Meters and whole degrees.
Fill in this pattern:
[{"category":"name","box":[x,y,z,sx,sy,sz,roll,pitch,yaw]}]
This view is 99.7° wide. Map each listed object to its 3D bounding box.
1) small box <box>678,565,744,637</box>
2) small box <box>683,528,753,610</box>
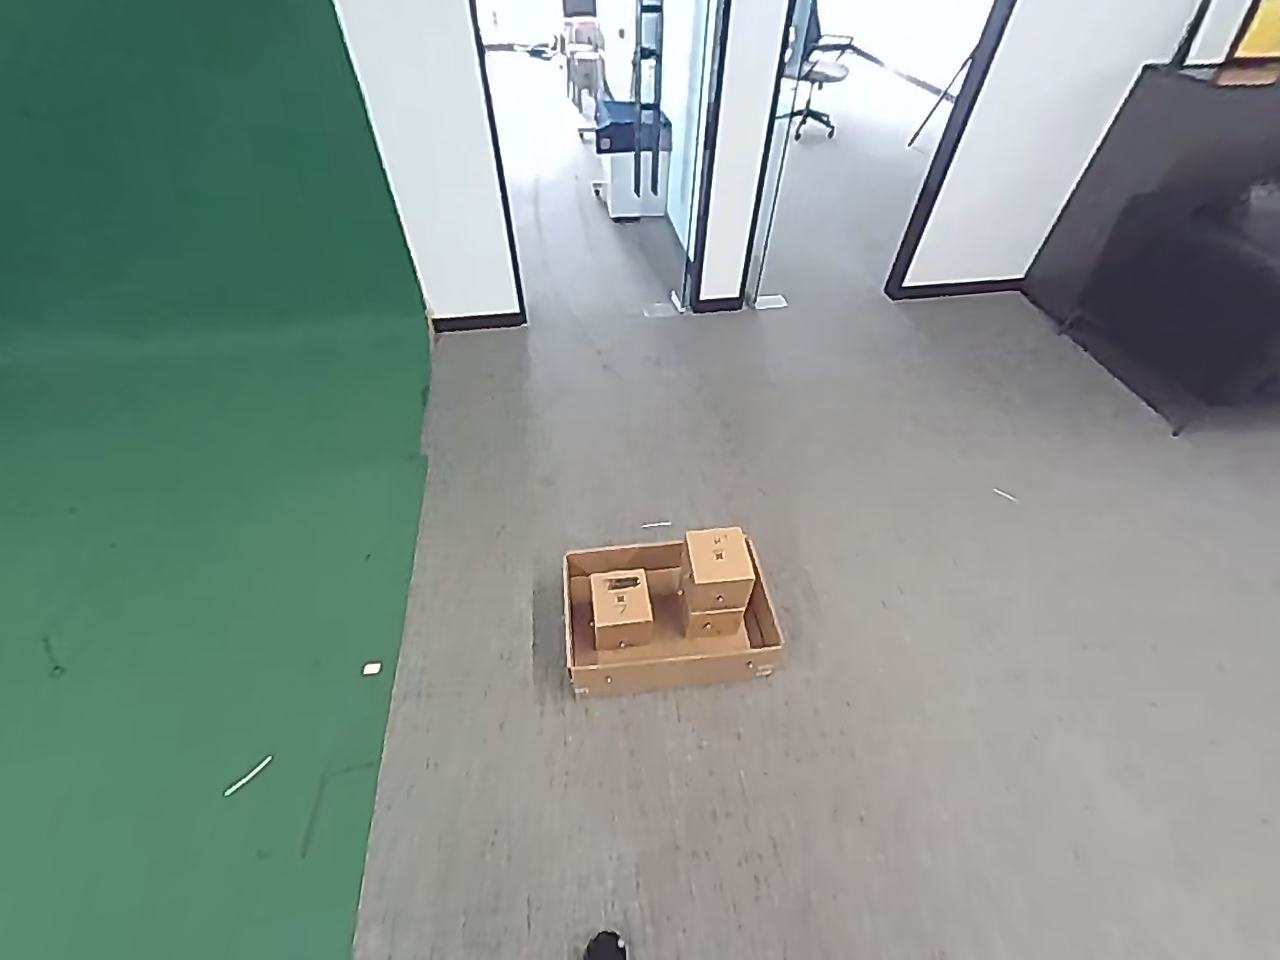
[{"category":"small box","box":[0.215,0.374,1.678,0.168,0.176,0.179,-4,48,-5]},{"category":"small box","box":[0.218,0.261,1.556,0.168,0.176,0.179,-4,48,-4]}]
